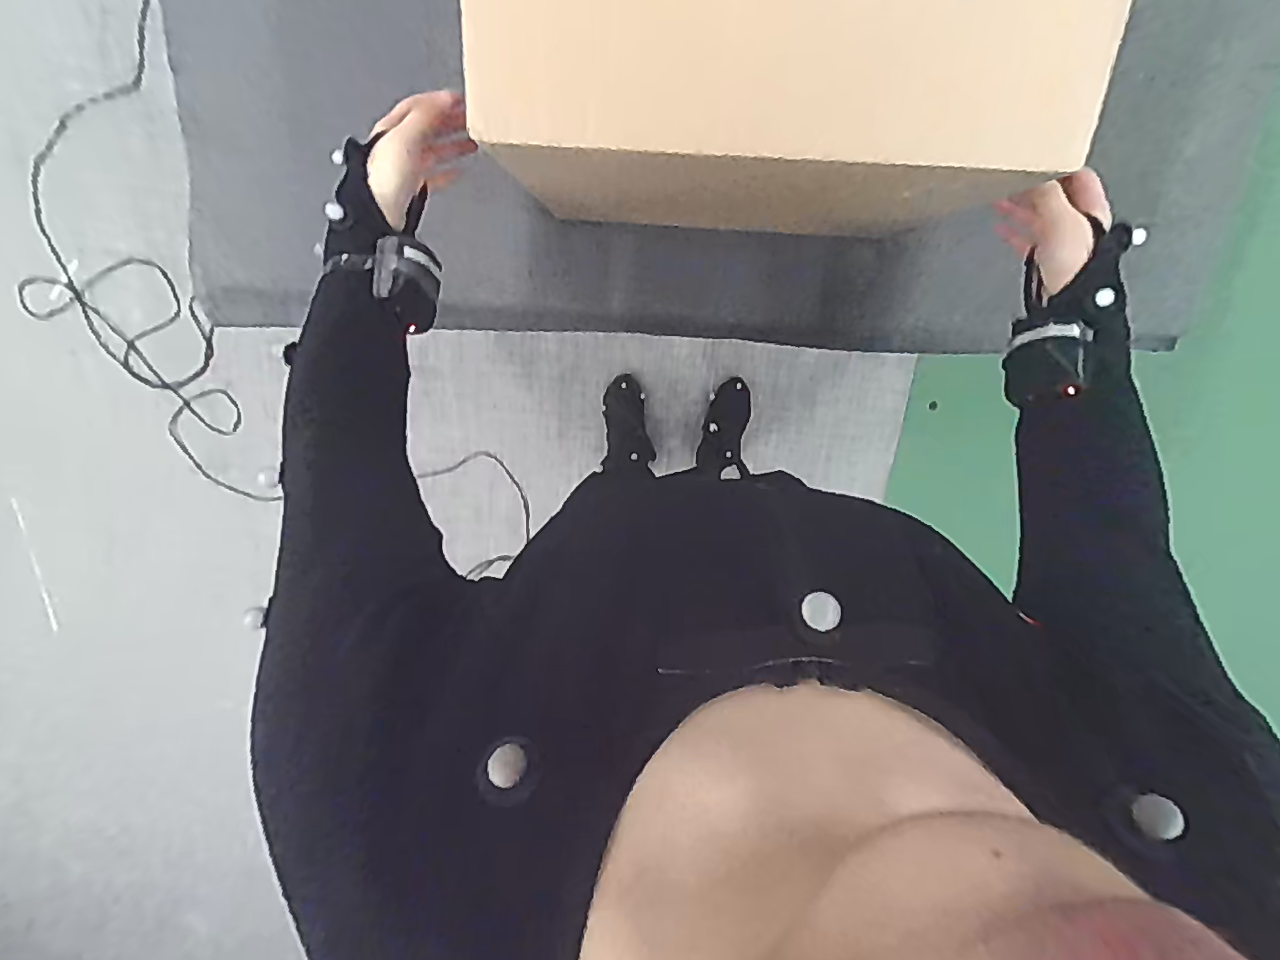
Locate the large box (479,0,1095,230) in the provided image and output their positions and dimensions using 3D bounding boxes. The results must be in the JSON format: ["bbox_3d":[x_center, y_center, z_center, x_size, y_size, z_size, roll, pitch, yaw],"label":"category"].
[{"bbox_3d":[0.097,-0.413,0.472,0.408,0.320,0.320,3,107,1],"label":"large box"}]
